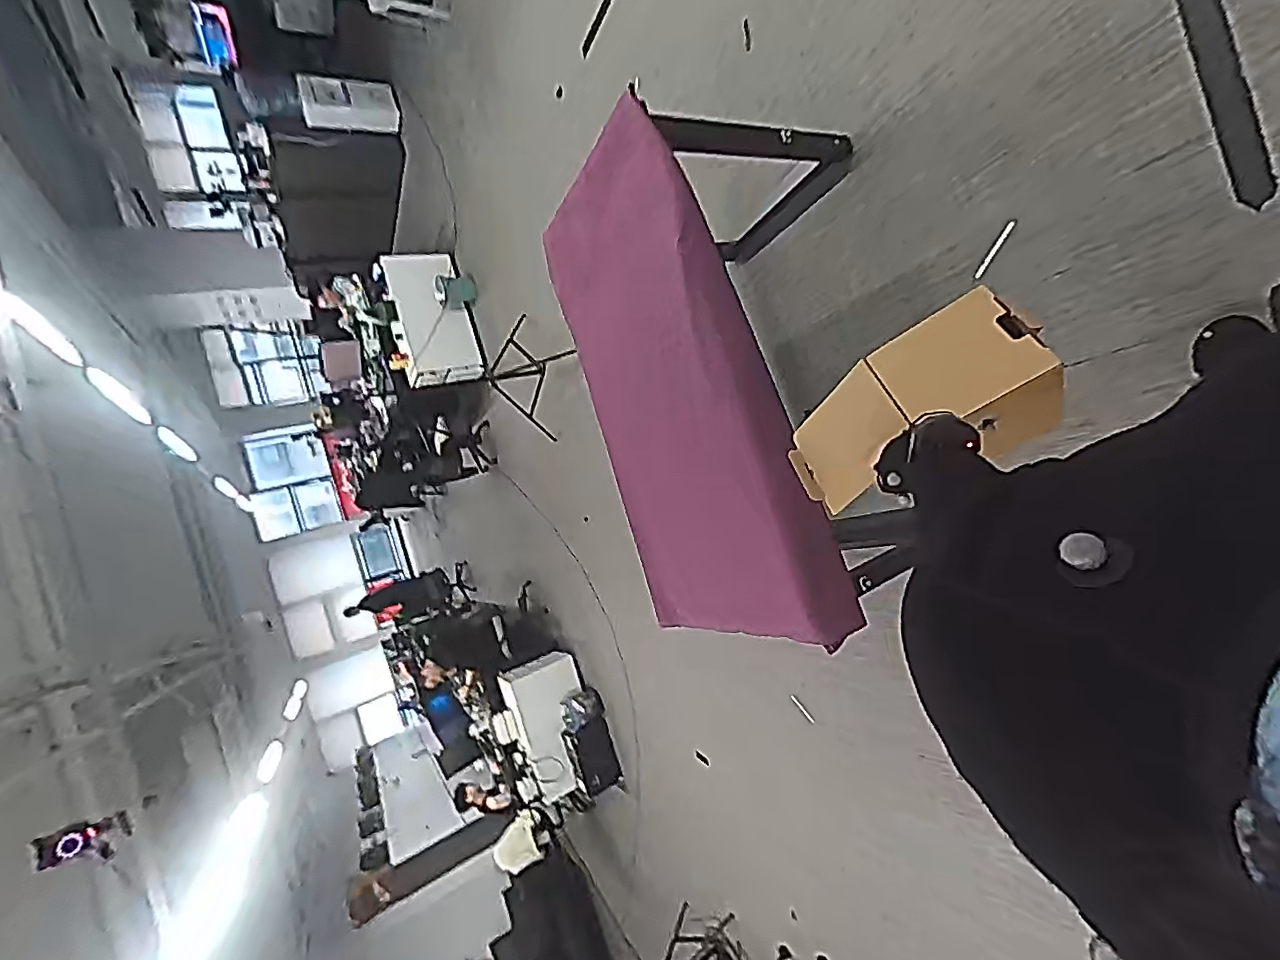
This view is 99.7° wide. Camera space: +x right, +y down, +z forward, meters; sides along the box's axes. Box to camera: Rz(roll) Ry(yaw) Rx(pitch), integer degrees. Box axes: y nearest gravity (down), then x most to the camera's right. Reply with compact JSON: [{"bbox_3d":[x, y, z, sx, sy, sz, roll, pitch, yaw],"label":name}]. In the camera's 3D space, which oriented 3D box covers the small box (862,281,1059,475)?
[{"bbox_3d":[0.454,-0.132,0.766,0.179,0.176,0.168,-33,53,23],"label":"small box"}]
